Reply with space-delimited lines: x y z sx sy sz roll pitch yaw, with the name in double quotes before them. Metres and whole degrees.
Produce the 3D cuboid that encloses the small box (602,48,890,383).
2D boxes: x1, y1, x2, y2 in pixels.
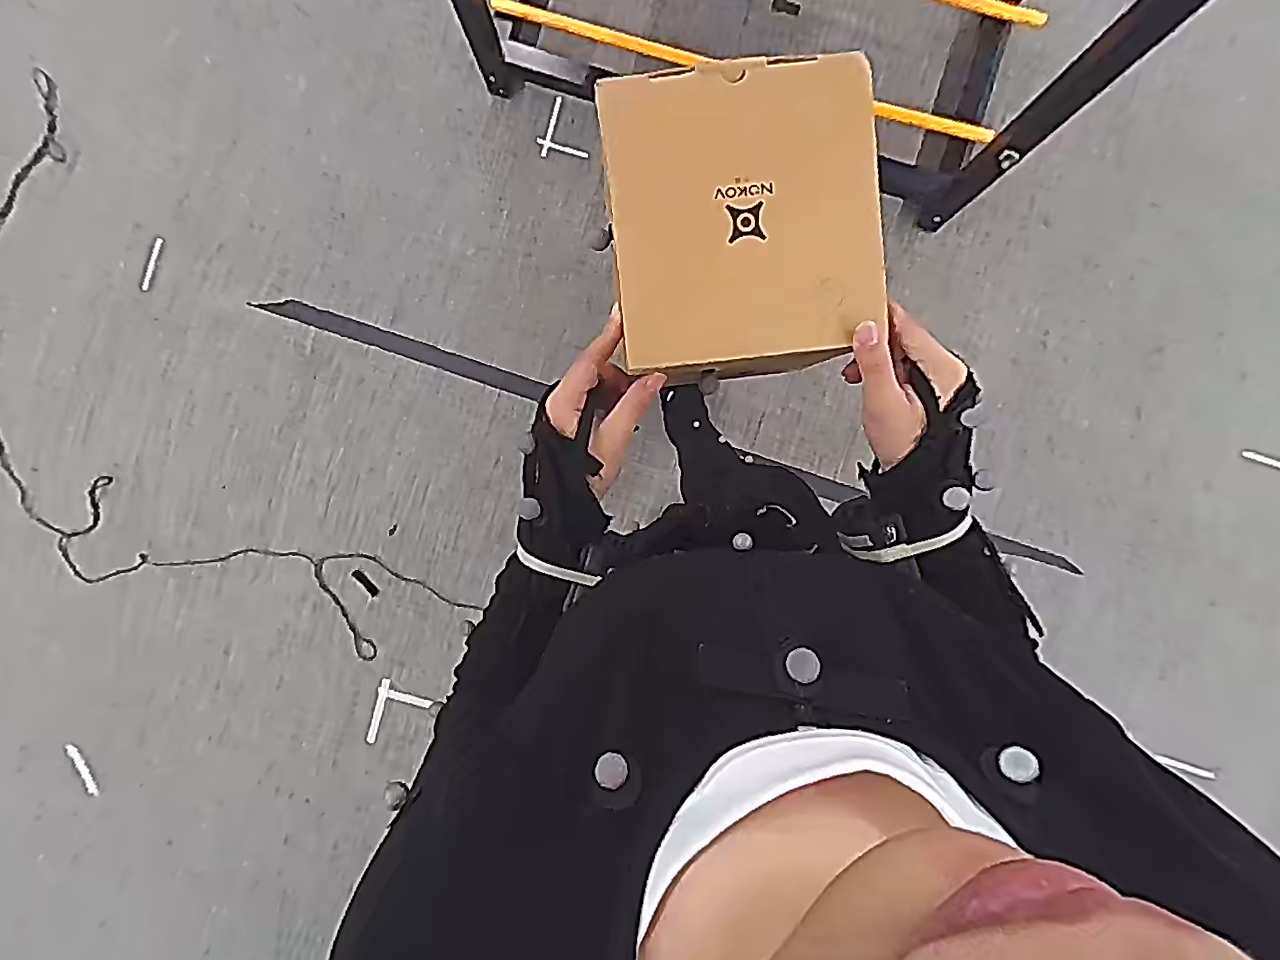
"small box" 0.067 -0.171 0.411 0.168 0.176 0.179 -7 94 0
